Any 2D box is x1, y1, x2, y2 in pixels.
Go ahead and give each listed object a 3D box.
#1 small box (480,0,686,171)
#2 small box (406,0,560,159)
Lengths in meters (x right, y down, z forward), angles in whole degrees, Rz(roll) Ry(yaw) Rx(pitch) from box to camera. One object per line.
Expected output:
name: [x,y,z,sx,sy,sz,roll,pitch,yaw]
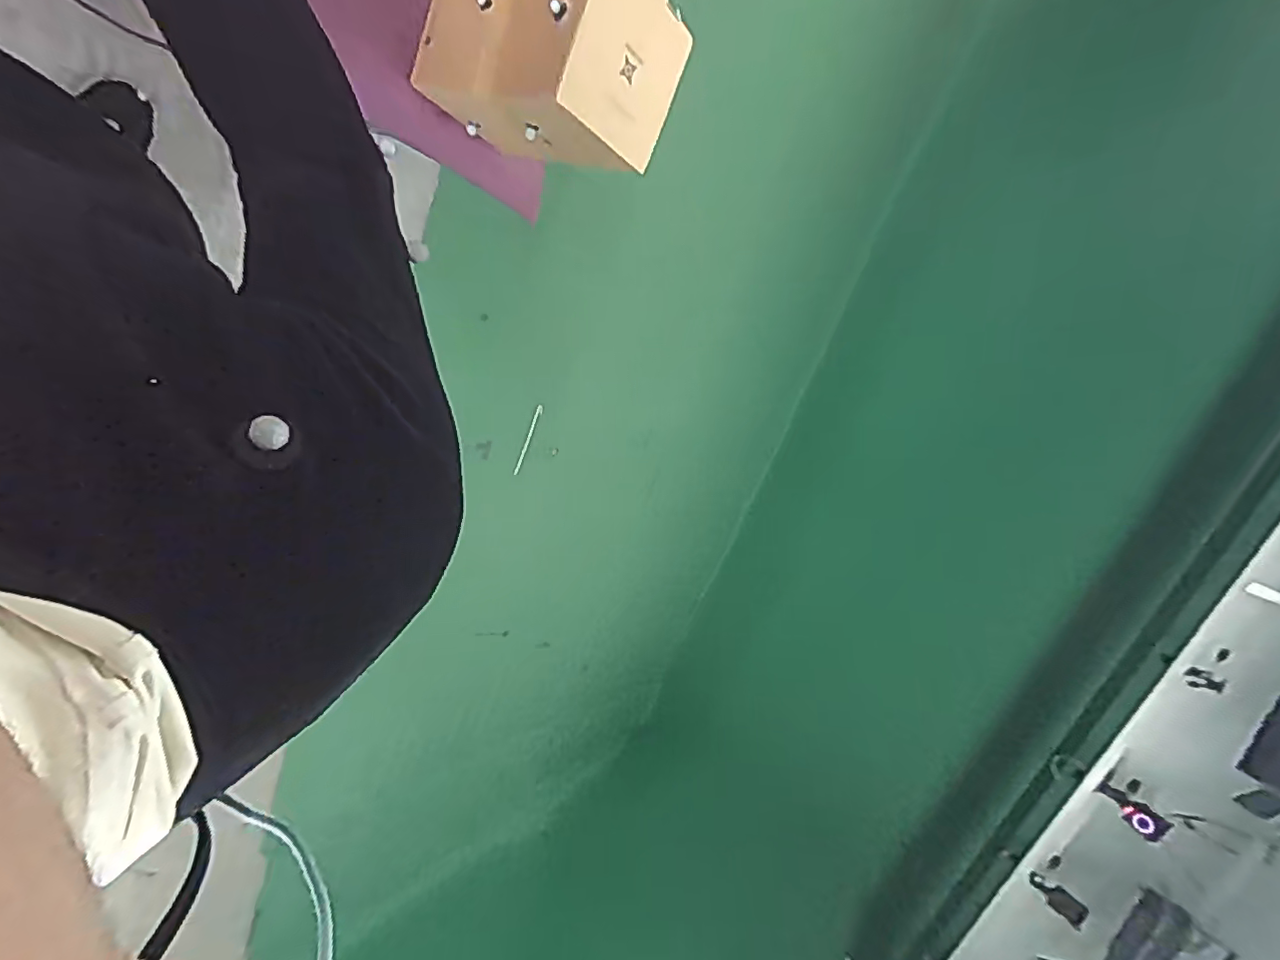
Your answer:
small box: [-0.077,-0.533,0.691,0.168,0.176,0.179,7,110,-53]
small box: [-0.197,-0.600,0.778,0.179,0.176,0.168,6,110,-55]
